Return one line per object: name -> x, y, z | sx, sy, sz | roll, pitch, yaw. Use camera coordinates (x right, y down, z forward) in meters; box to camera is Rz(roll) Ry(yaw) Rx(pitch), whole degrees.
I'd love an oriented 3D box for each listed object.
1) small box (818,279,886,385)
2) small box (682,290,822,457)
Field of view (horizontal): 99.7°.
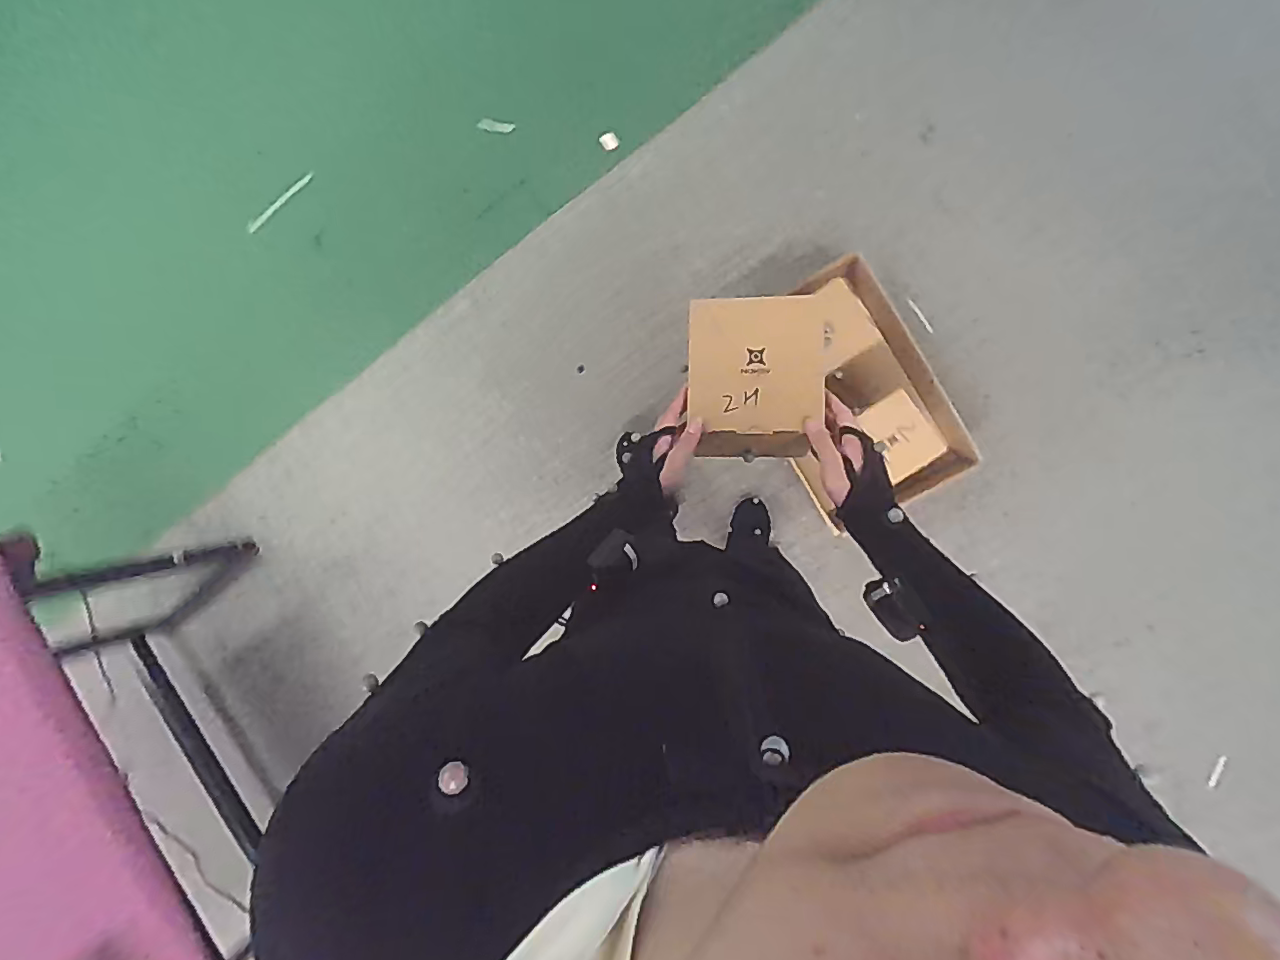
small box -> 0.424, -0.322, 1.240 | 0.179, 0.176, 0.168 | -31, 85, 9
small box -> 0.144, -0.133, 0.728 | 0.168, 0.176, 0.179 | 0, 83, 9
